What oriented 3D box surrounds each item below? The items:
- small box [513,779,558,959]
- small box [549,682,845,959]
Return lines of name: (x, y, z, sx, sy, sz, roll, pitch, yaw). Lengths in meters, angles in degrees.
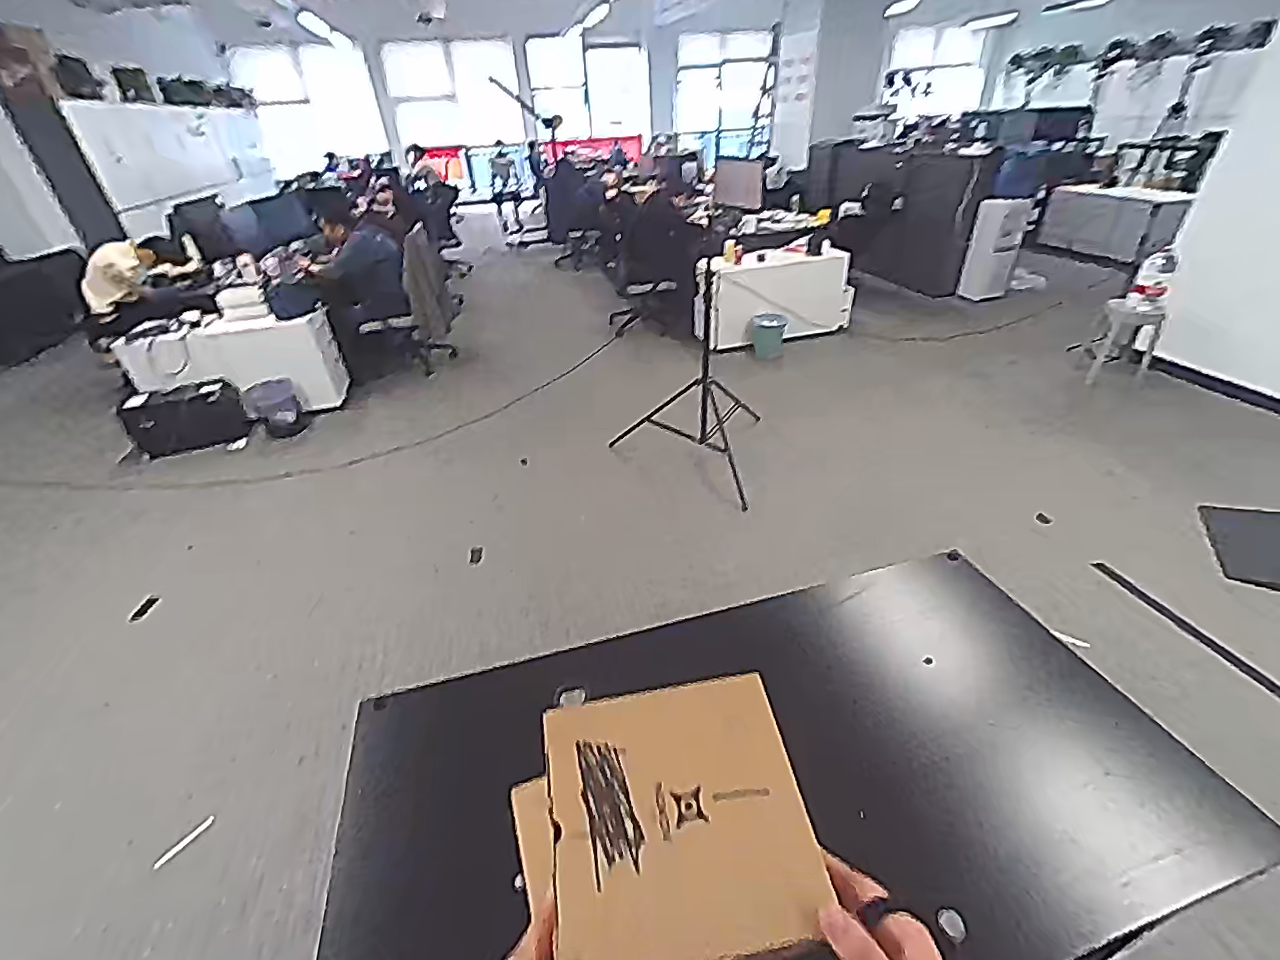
small box: (-0.041, 0.461, 0.636, 0.168, 0.176, 0.179, -16, 37, -15)
small box: (0.029, 0.287, 0.427, 0.179, 0.176, 0.168, -7, 45, -7)
